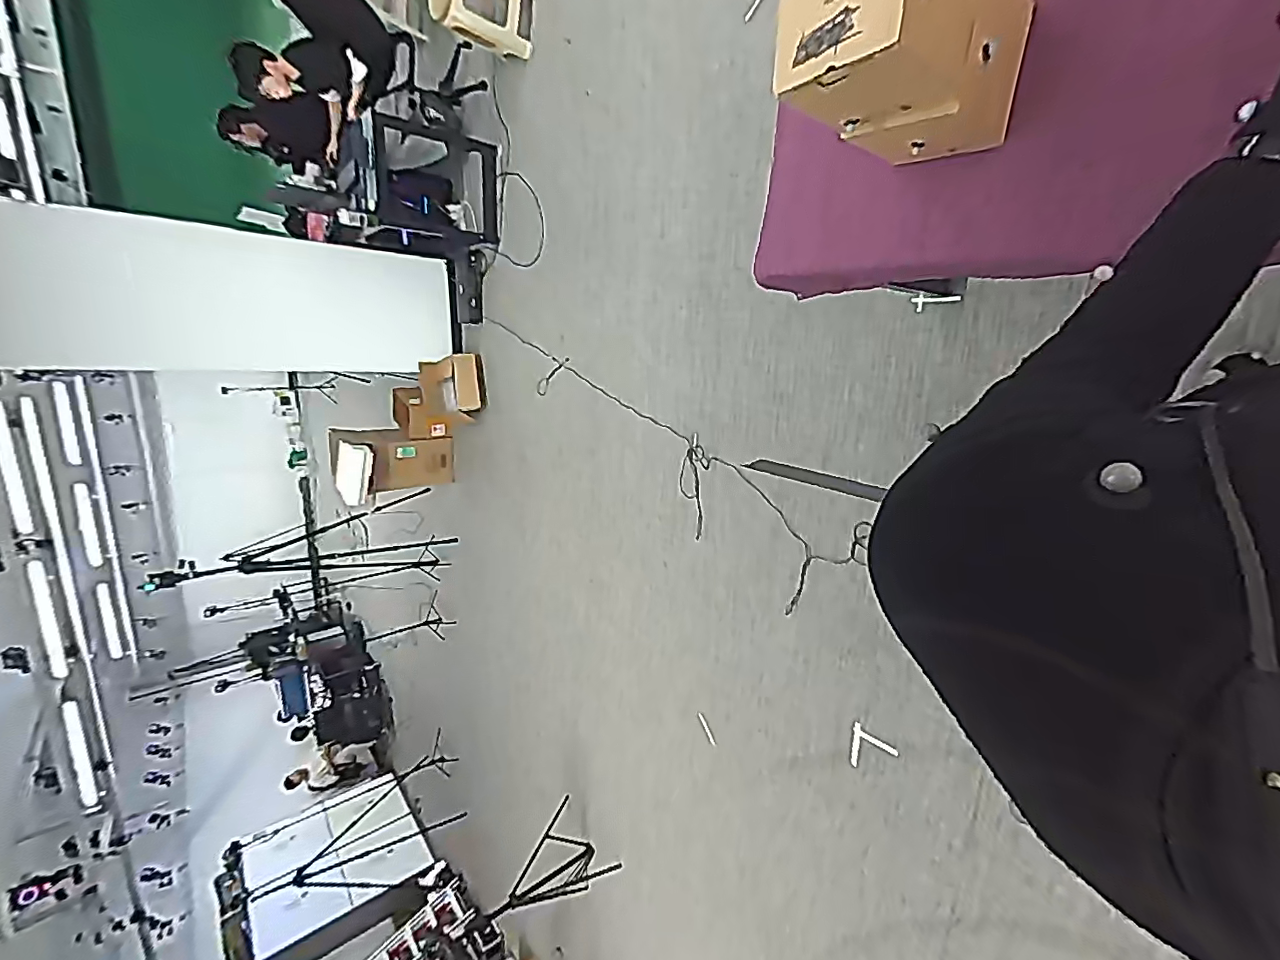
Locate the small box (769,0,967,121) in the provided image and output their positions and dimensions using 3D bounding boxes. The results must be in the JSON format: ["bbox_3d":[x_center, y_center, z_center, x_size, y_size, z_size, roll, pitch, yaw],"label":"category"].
[{"bbox_3d":[0.280,-0.568,0.659,0.168,0.176,0.179,16,109,48],"label":"small box"}]

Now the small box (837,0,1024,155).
[{"bbox_3d":[0.408,-0.578,0.763,0.168,0.176,0.179,22,114,46],"label":"small box"}]
